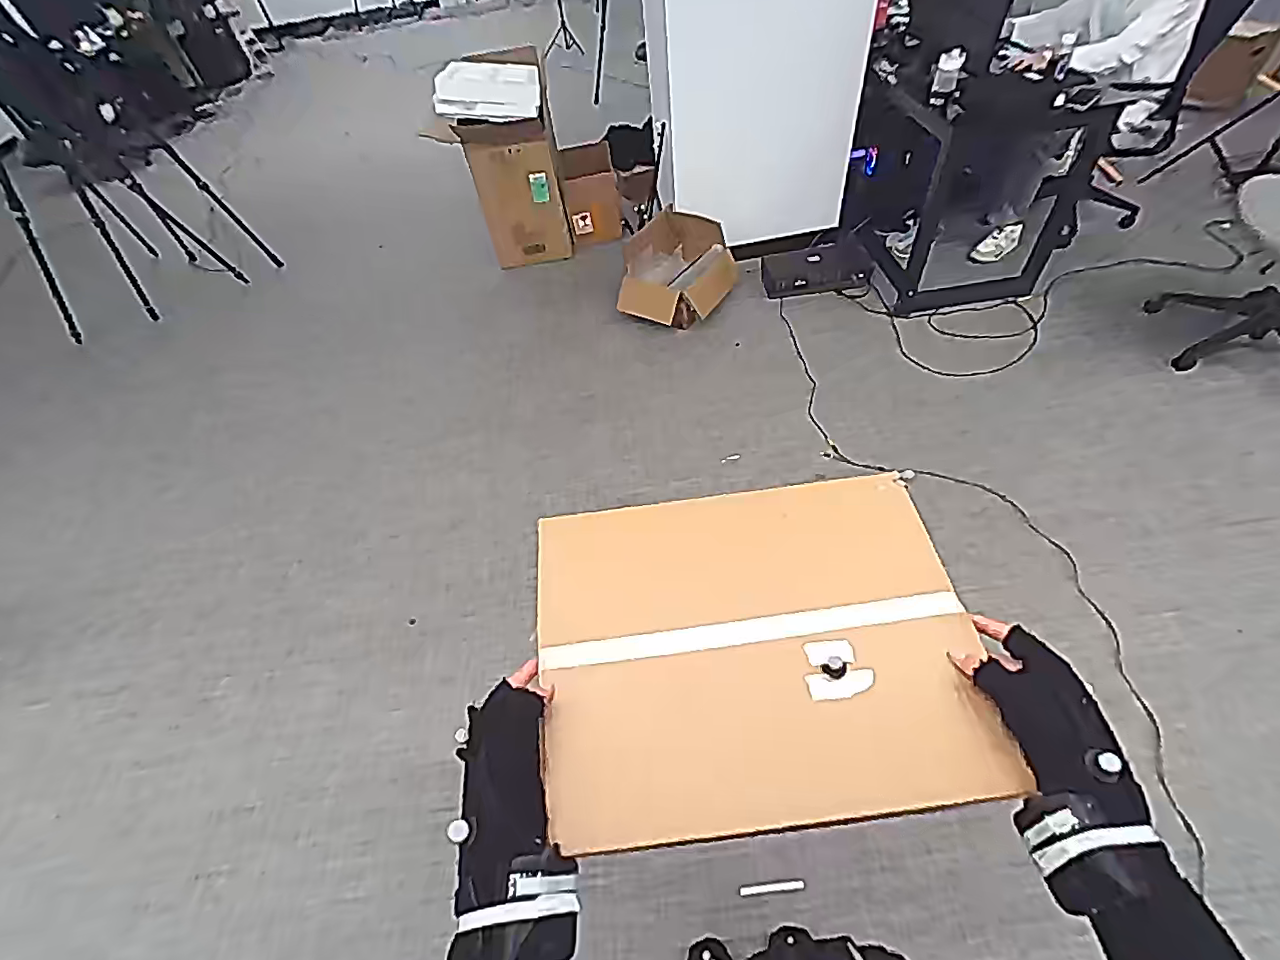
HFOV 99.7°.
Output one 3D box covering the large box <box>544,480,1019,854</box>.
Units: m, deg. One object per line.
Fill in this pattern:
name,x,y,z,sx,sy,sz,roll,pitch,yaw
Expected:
large box,0.114,0.236,0.652,0.408,0.320,0.320,-8,55,0
